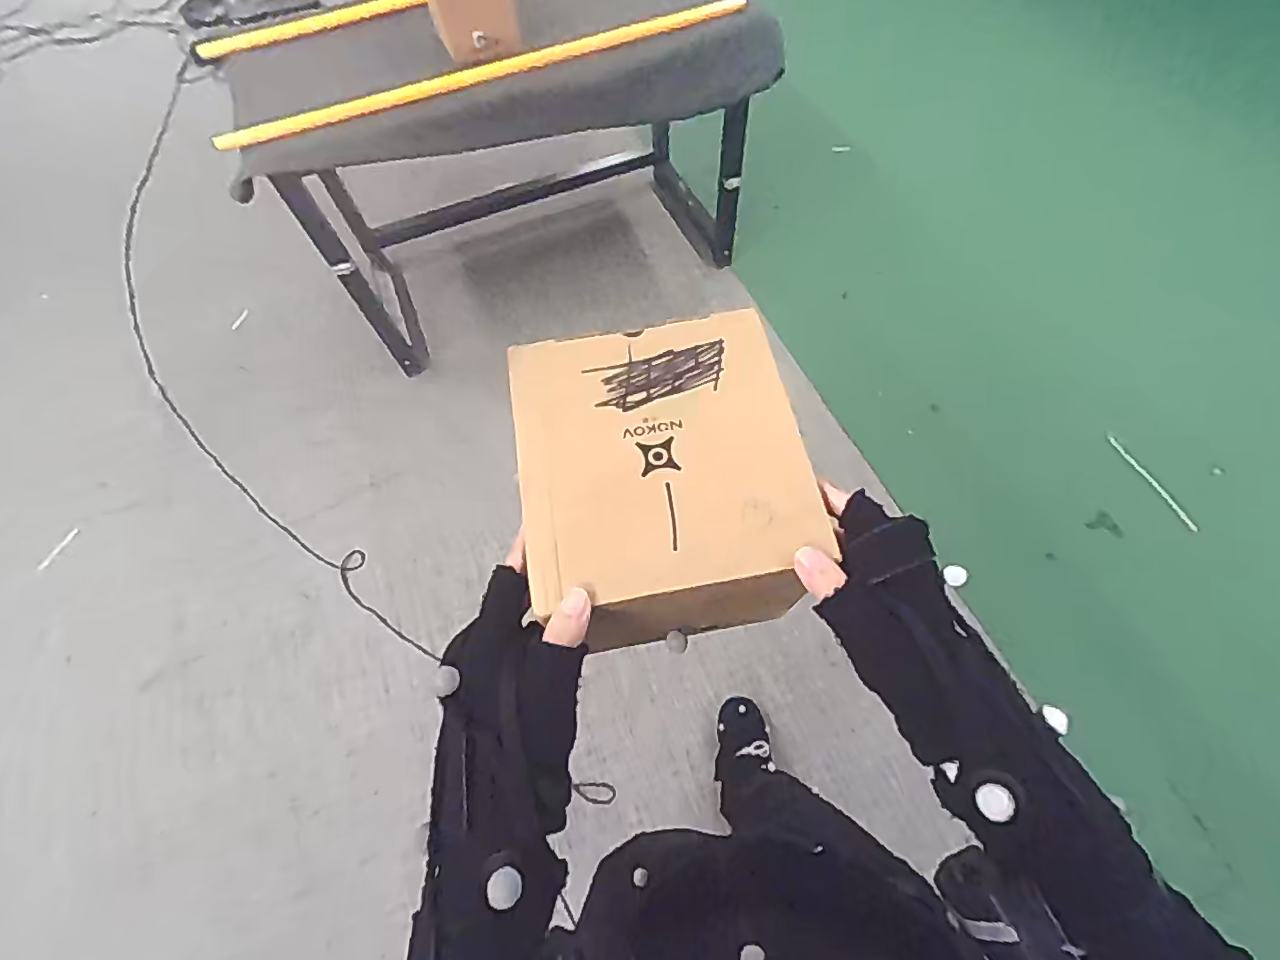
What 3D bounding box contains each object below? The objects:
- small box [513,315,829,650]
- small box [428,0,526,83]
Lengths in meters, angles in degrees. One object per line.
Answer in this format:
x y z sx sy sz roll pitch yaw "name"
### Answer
0.012 0.013 0.397 0.168 0.176 0.179 -11 65 -2 "small box"
-0.381 -1.056 1.239 0.168 0.176 0.179 -24 64 -8 "small box"
